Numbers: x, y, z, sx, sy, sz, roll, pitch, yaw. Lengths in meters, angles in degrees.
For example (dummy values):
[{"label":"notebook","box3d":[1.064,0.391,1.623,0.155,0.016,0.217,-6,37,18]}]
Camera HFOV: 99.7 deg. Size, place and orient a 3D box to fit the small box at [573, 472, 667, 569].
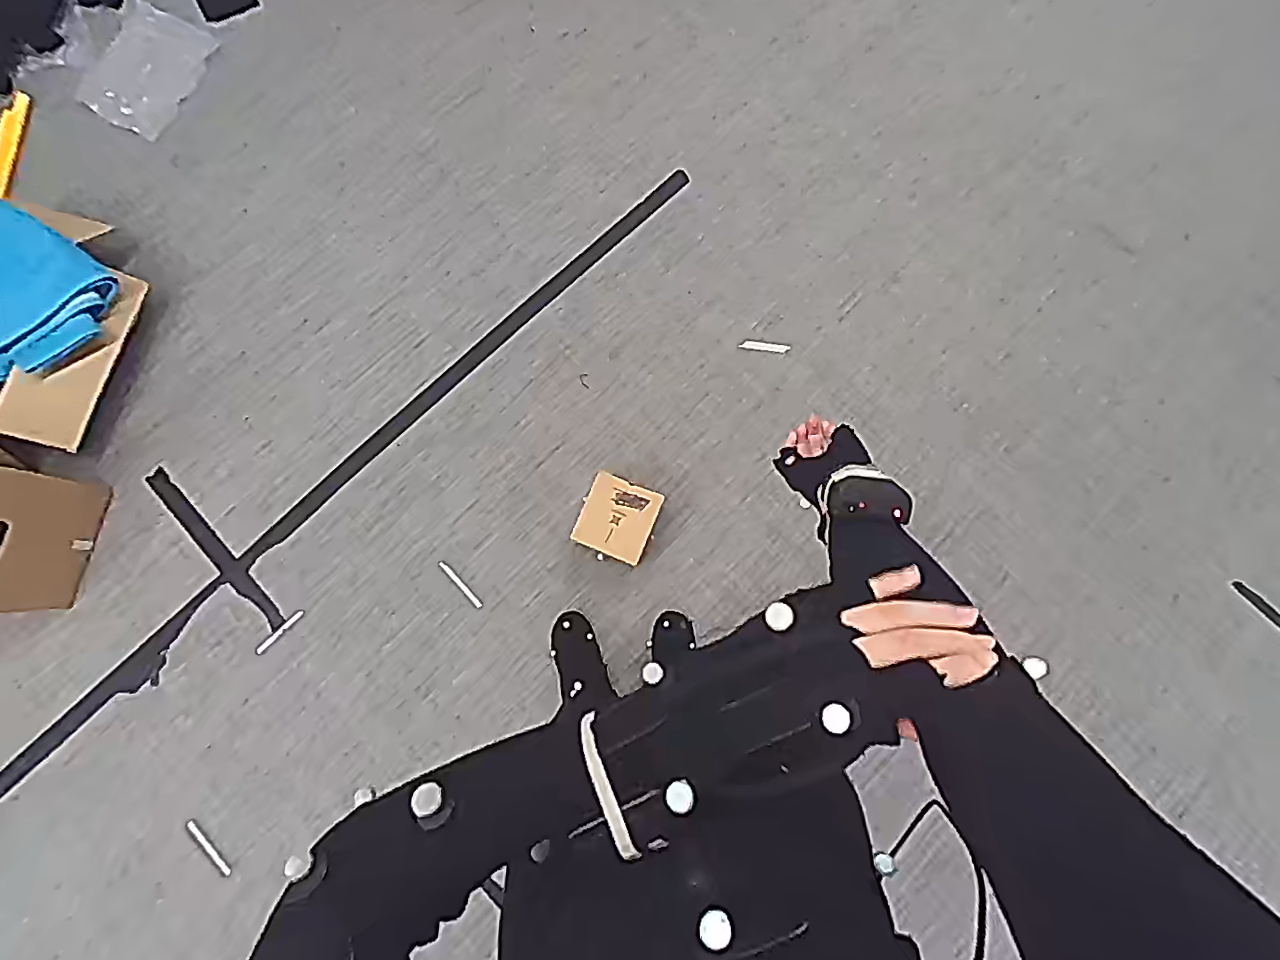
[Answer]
[{"label":"small box","box3d":[-0.048,0.103,1.303,0.168,0.176,0.179,23,81,3]}]
